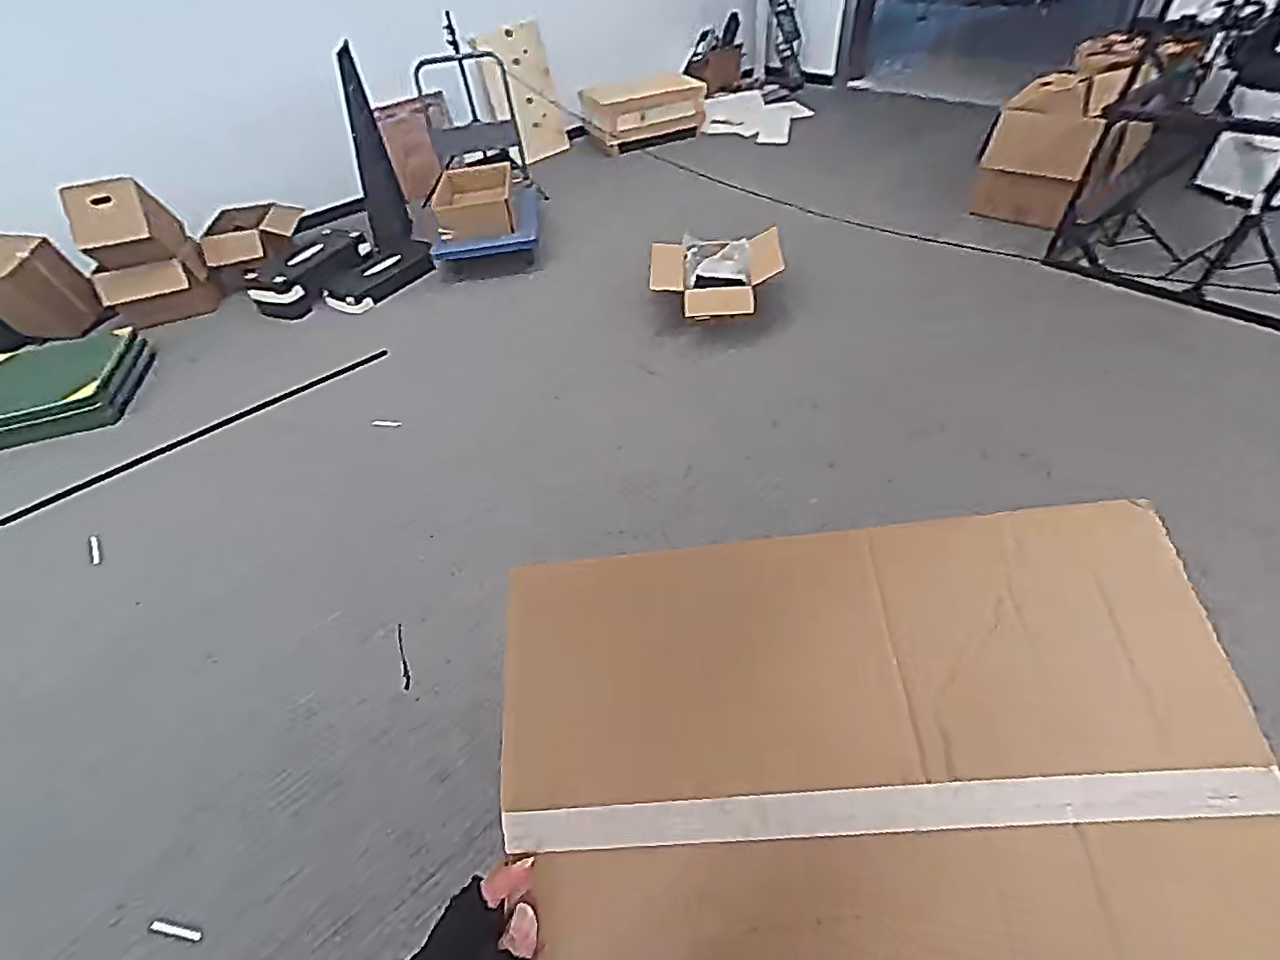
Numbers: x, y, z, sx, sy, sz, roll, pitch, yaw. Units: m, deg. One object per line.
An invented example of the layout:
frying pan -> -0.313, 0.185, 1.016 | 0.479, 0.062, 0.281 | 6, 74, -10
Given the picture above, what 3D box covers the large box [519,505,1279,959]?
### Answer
large box -> 0.145, 0.239, 0.440 | 0.408, 0.320, 0.320 | -8, 68, 7
